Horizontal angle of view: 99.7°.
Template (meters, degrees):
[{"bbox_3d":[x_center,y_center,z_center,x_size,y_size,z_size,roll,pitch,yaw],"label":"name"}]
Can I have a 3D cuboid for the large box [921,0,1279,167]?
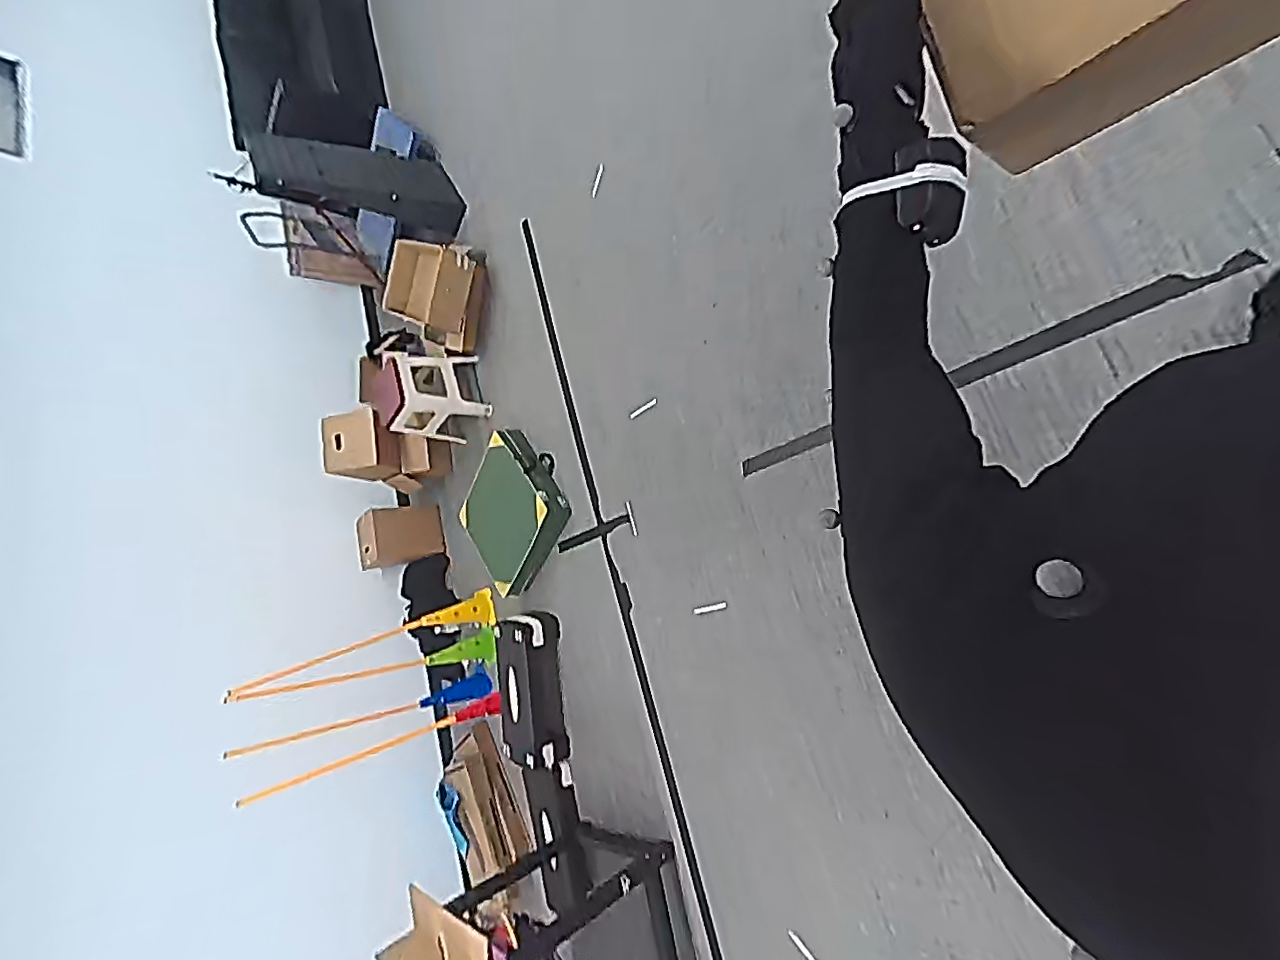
[{"bbox_3d":[0.439,-0.525,0.412,0.408,0.320,0.320,-19,94,43],"label":"large box"}]
